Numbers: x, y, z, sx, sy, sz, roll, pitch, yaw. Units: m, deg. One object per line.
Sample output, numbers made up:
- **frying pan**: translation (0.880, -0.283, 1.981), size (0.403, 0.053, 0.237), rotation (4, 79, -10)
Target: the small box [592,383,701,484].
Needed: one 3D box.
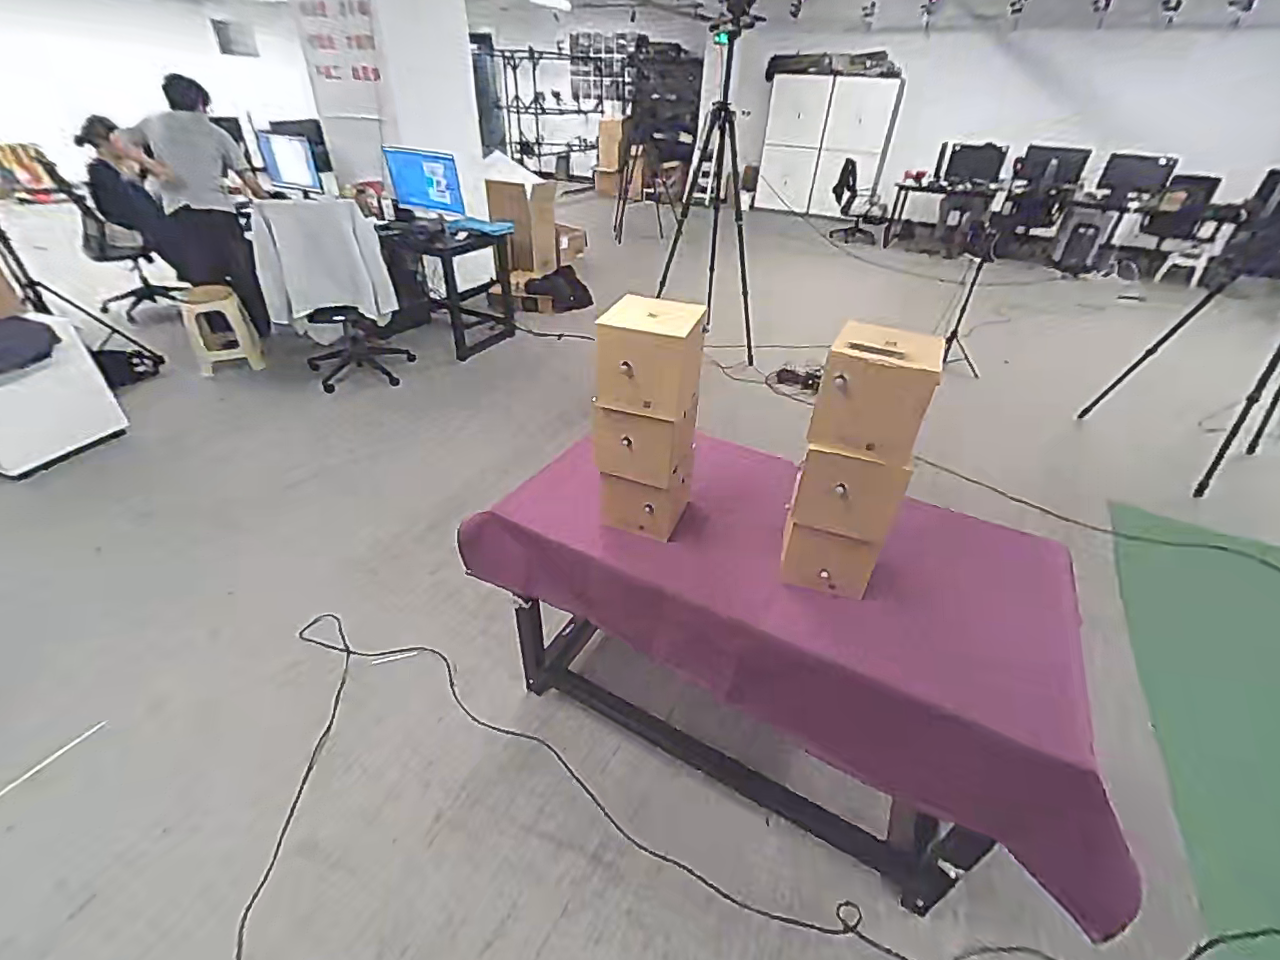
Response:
- **small box**: translation (0.014, -0.111, 1.130), size (0.179, 0.176, 0.168), rotation (15, 38, 17)

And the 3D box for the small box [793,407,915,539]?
- **small box**: translation (0.394, -0.013, 1.007), size (0.179, 0.176, 0.168), rotation (14, 38, 17)

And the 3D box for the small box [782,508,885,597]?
- **small box**: translation (0.395, 0.110, 1.118), size (0.168, 0.176, 0.179), rotation (11, 36, 13)

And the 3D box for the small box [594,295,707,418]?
- **small box**: translation (0.023, -0.235, 1.024), size (0.168, 0.176, 0.179), rotation (13, 37, 13)

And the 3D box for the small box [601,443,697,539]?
- **small box**: translation (0.022, 0.010, 1.244), size (0.168, 0.176, 0.179), rotation (16, 37, 17)
